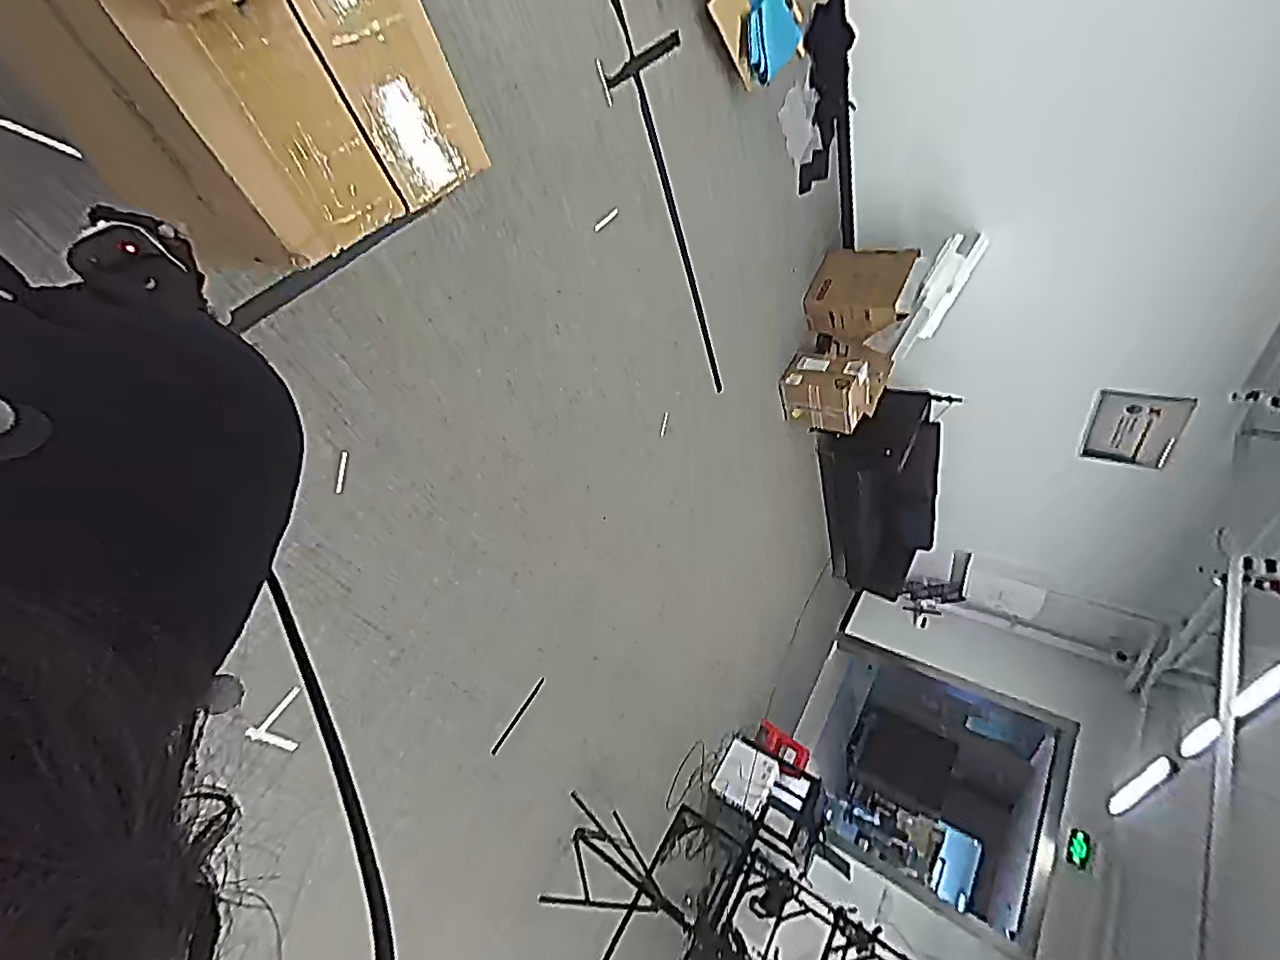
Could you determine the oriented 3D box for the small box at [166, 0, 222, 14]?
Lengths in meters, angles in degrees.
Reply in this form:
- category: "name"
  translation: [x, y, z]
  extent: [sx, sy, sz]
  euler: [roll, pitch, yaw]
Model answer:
- category: "small box"
  translation: [-0.468, -0.637, 0.565]
  extent: [0.168, 0.176, 0.179]
  euler: [-51, 141, -25]
